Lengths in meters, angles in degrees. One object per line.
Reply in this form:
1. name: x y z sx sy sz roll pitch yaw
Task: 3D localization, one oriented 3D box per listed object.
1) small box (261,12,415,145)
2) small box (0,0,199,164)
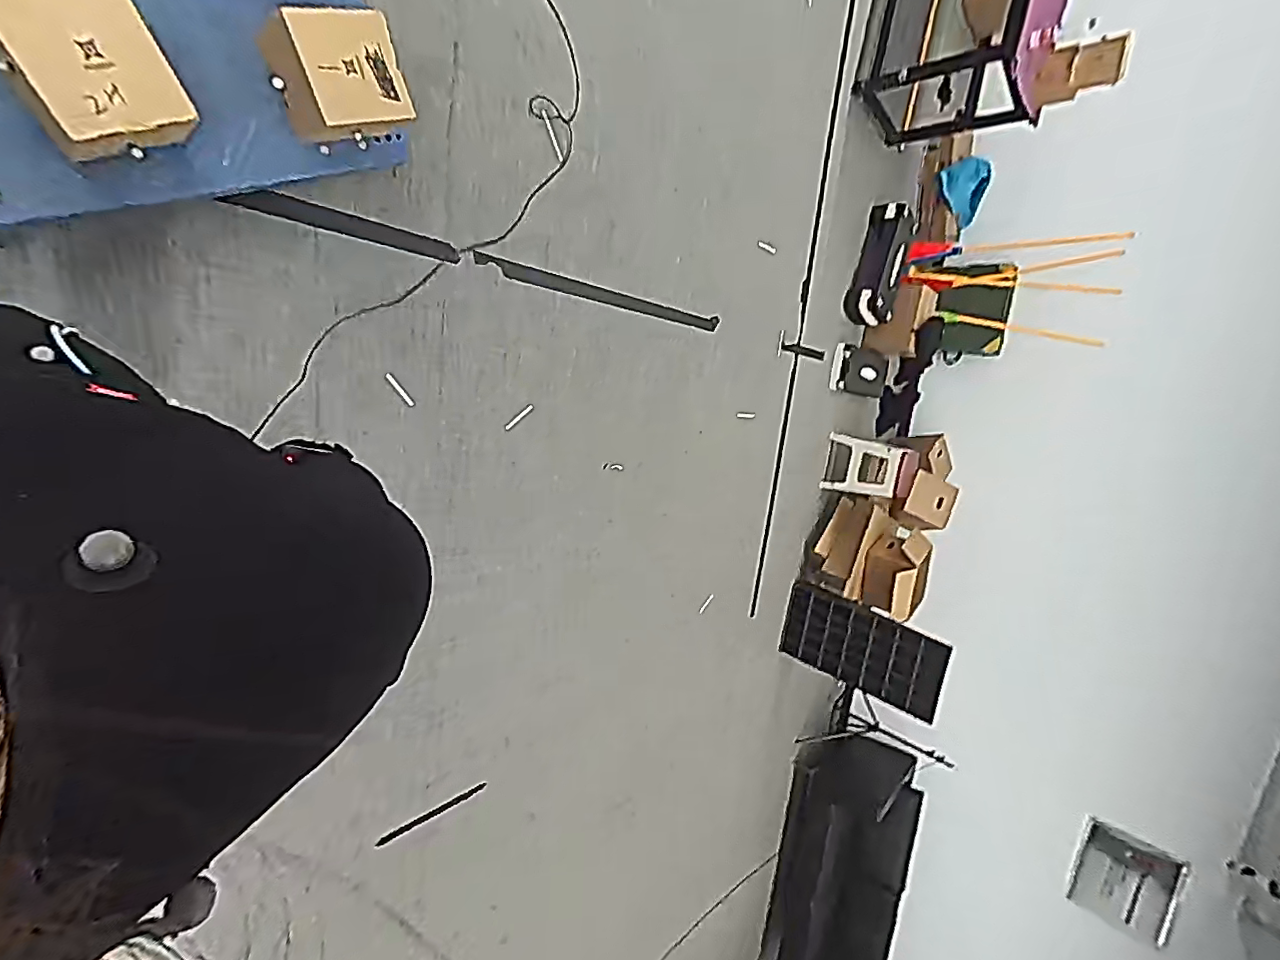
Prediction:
1. small box: -0.562 -0.741 1.011 0.179 0.176 0.168 -34 125 -35
2. small box: -0.805 -0.591 0.793 0.168 0.176 0.179 -40 128 -32
